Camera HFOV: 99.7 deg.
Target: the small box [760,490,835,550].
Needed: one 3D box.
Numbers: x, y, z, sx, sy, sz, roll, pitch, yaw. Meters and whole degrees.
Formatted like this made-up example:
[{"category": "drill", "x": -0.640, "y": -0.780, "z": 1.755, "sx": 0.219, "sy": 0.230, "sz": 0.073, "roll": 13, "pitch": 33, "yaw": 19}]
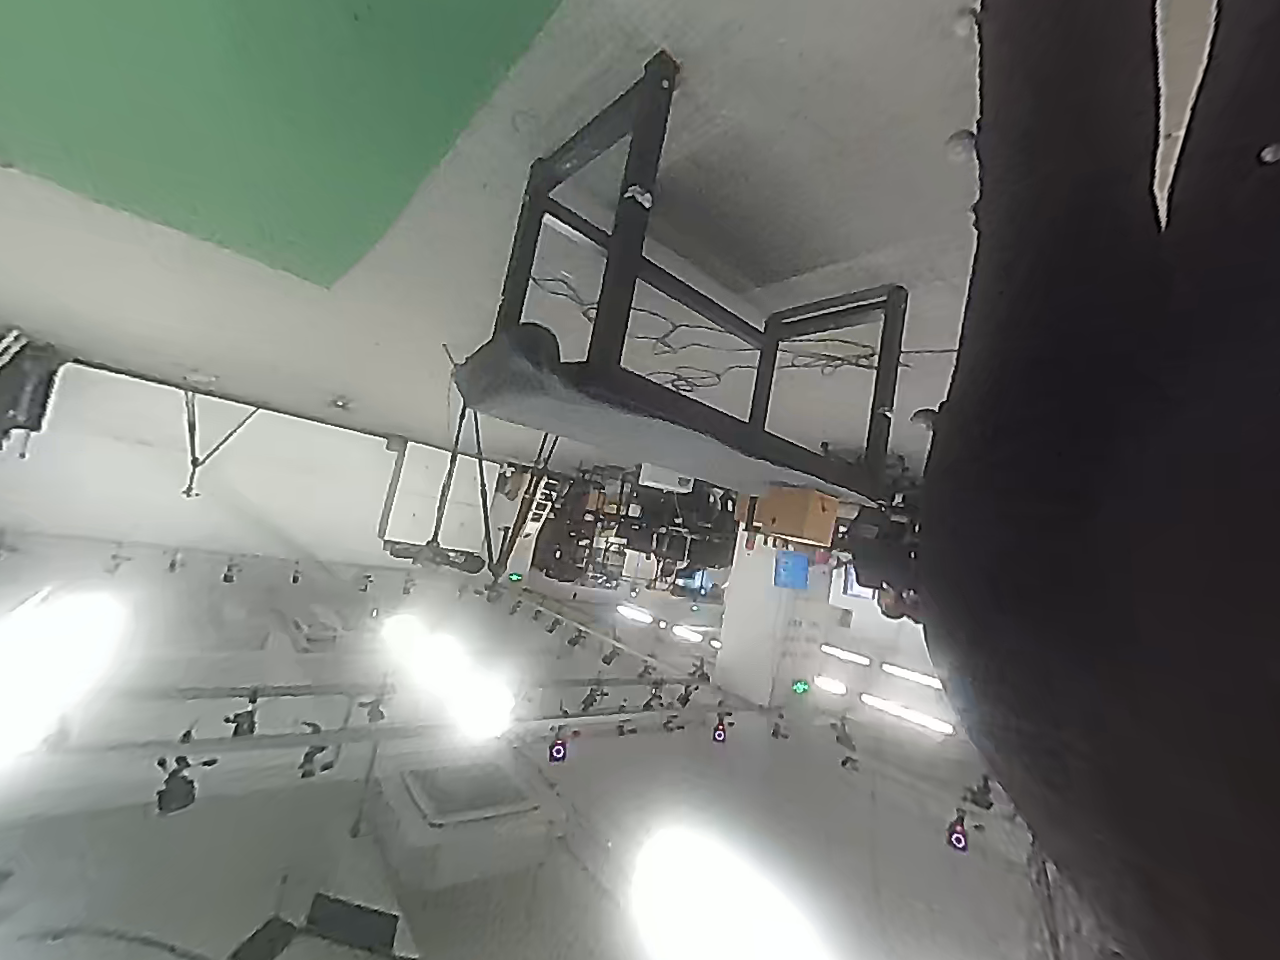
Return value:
[{"category": "small box", "x": 0.542, "y": 0.133, "z": 1.852, "sx": 0.168, "sy": 0.176, "sz": 0.179, "roll": 17, "pitch": 173, "yaw": -37}]
